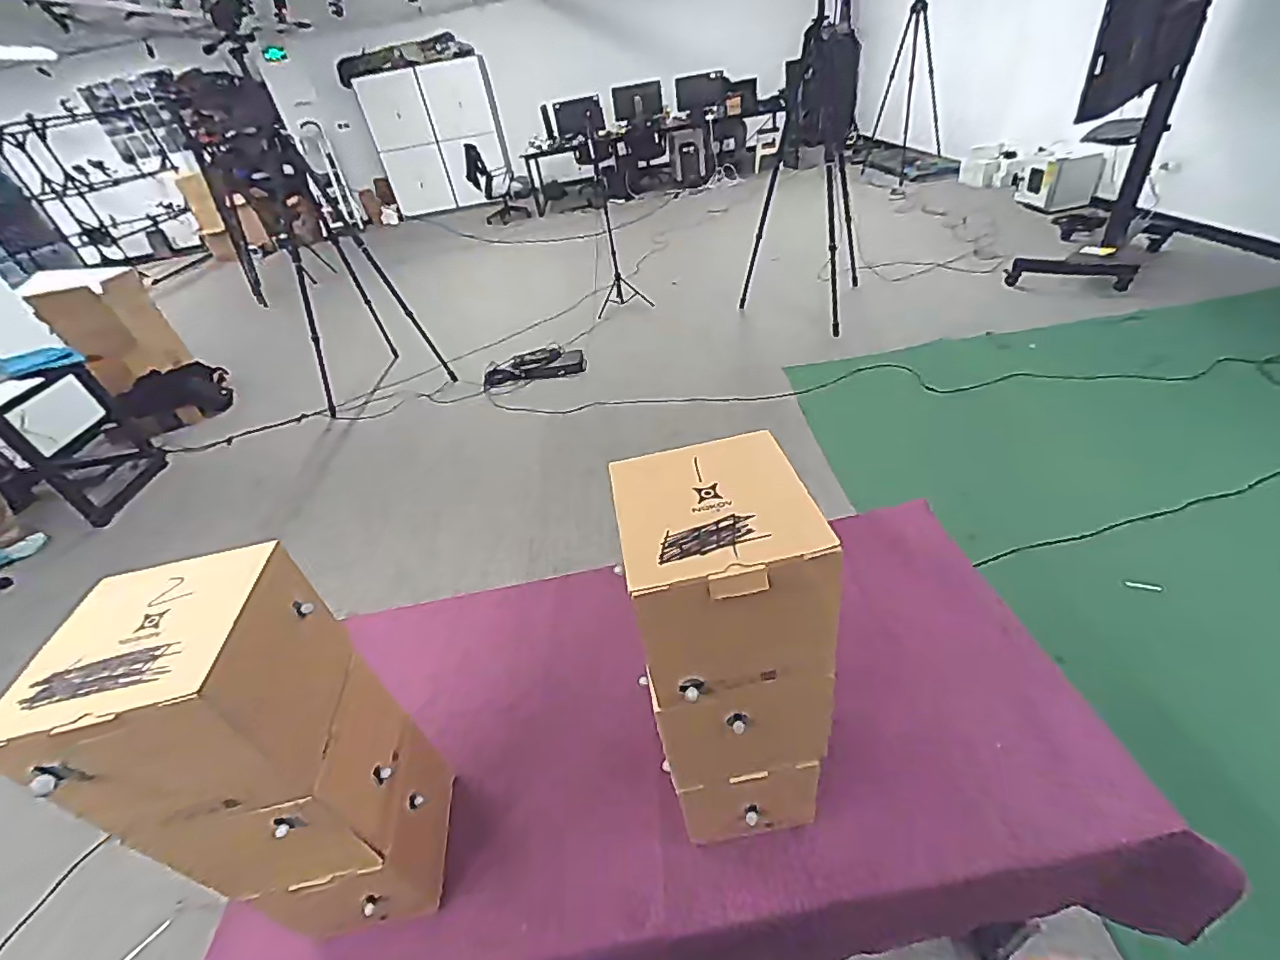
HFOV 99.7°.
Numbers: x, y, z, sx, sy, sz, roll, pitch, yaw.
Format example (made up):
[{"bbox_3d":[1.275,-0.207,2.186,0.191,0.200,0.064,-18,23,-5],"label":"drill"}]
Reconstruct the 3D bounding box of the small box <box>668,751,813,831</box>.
[{"bbox_3d":[0.119,0.341,0.720,0.168,0.176,0.179,-11,39,0],"label":"small box"}]

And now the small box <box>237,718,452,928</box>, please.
[{"bbox_3d":[-0.359,0.446,0.701,0.168,0.176,0.179,-11,37,-2],"label":"small box"}]

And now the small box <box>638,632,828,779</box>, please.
[{"bbox_3d":[0.097,0.213,0.617,0.179,0.176,0.168,-11,38,-1],"label":"small box"}]

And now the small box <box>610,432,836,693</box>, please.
[{"bbox_3d":[0.073,0.082,0.520,0.168,0.176,0.179,-12,37,-1],"label":"small box"}]

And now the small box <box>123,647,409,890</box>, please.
[{"bbox_3d":[-0.387,0.321,0.603,0.179,0.176,0.168,-12,38,-4],"label":"small box"}]
